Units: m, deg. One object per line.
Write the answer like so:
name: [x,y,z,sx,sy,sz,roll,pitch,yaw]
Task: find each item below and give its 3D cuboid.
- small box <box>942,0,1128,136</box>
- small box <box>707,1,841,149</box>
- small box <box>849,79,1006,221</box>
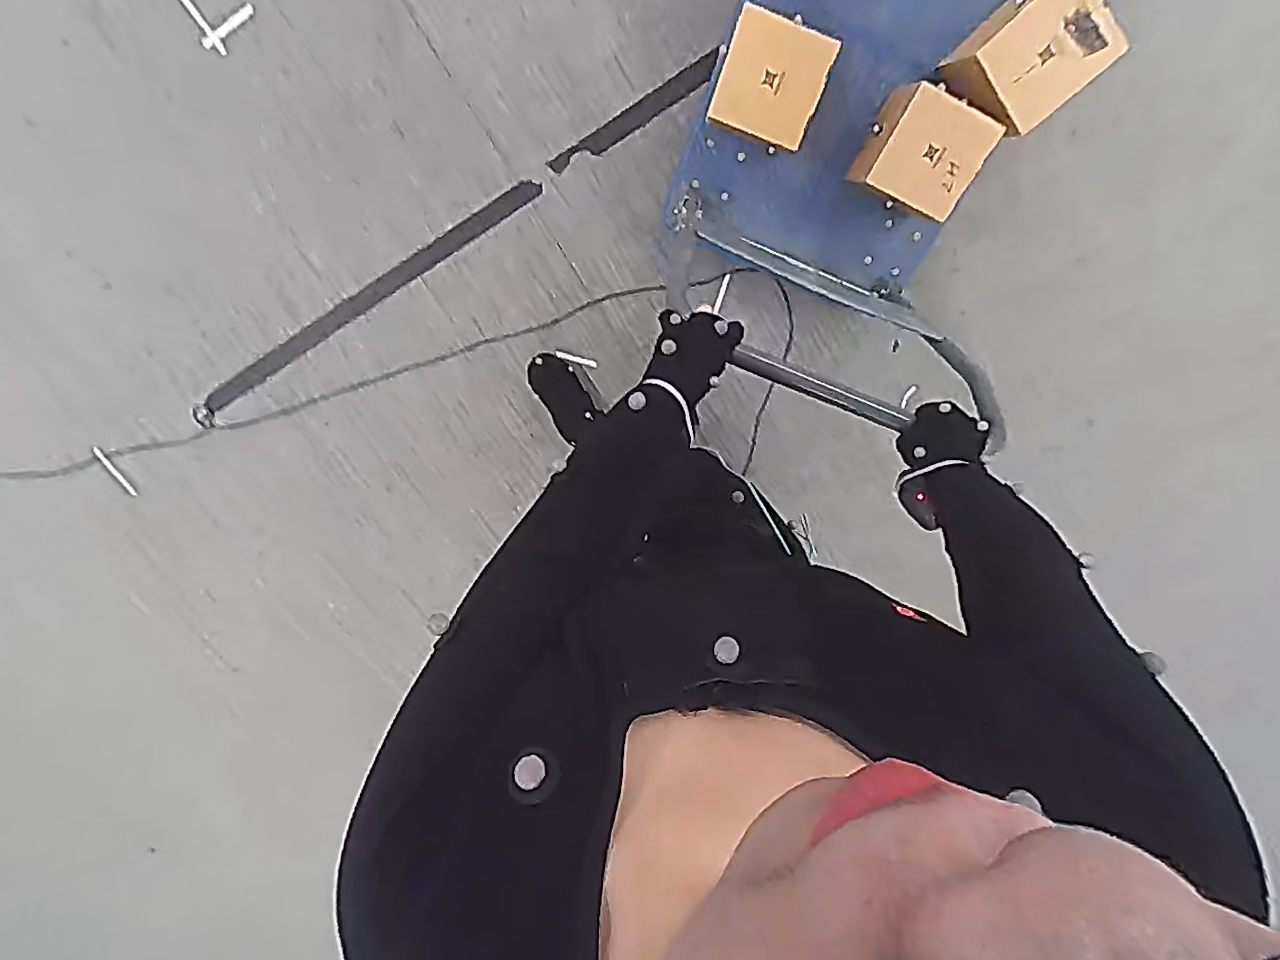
small box: [0.672,-0.737,0.940,0.179,0.176,0.168,-37,111,24]
small box: [0.231,-0.726,0.991,0.179,0.176,0.168,17,121,-7]
small box: [0.528,-0.618,1.026,0.179,0.176,0.168,23,121,-8]
